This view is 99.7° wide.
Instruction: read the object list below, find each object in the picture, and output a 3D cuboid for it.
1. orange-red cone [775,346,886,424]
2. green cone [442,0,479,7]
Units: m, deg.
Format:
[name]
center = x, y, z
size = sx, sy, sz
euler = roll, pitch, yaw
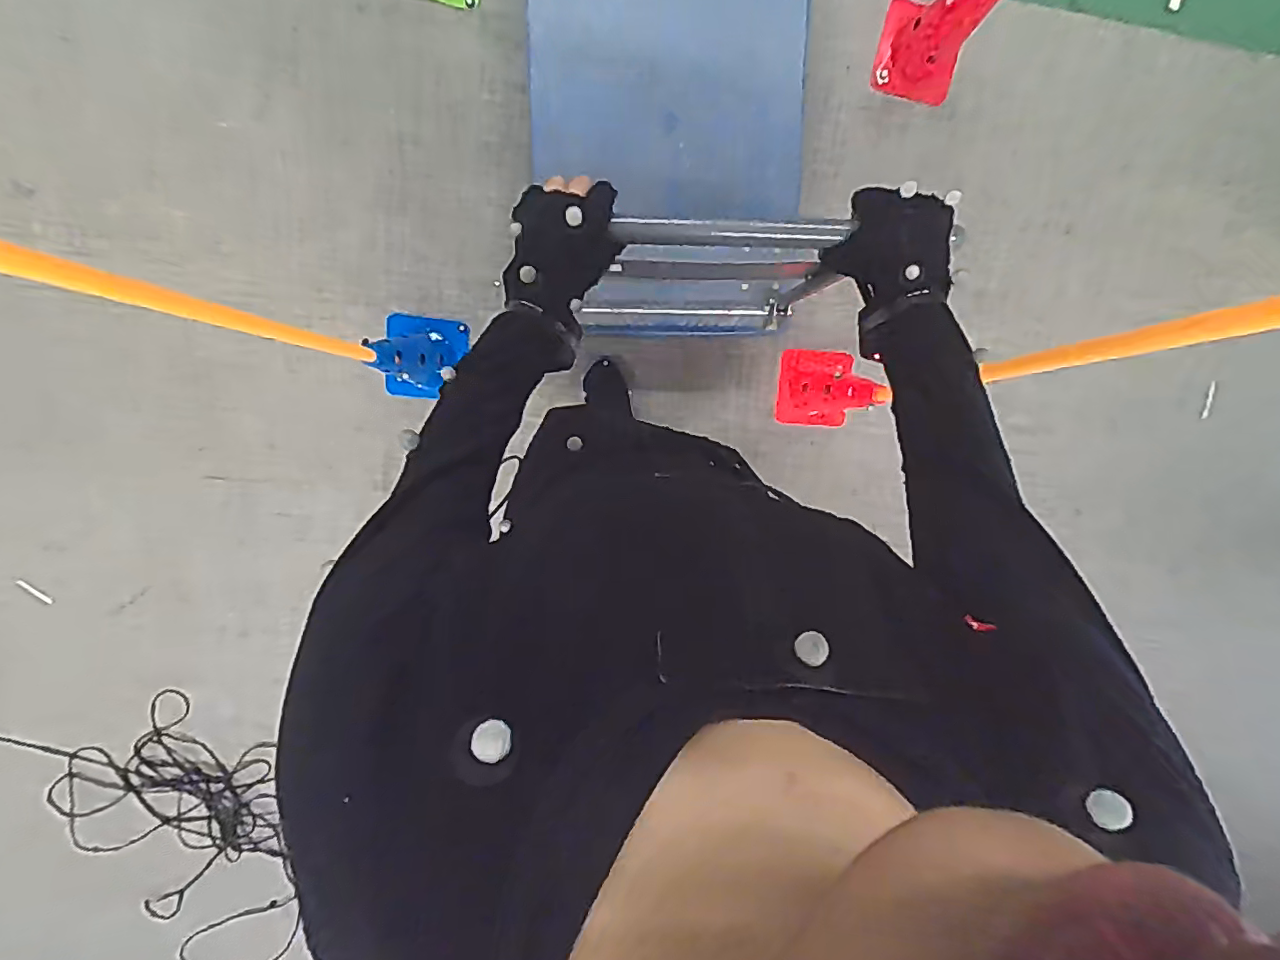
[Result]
[orange-red cone]
center = 0.480, -0.222, 1.294
size = 0.199, 0.360, 0.198
euler = 5, 101, -4
[green cone]
center = -0.429, -1.138, 1.020
size = 0.202, 0.368, 0.200
euler = 10, 100, -6
